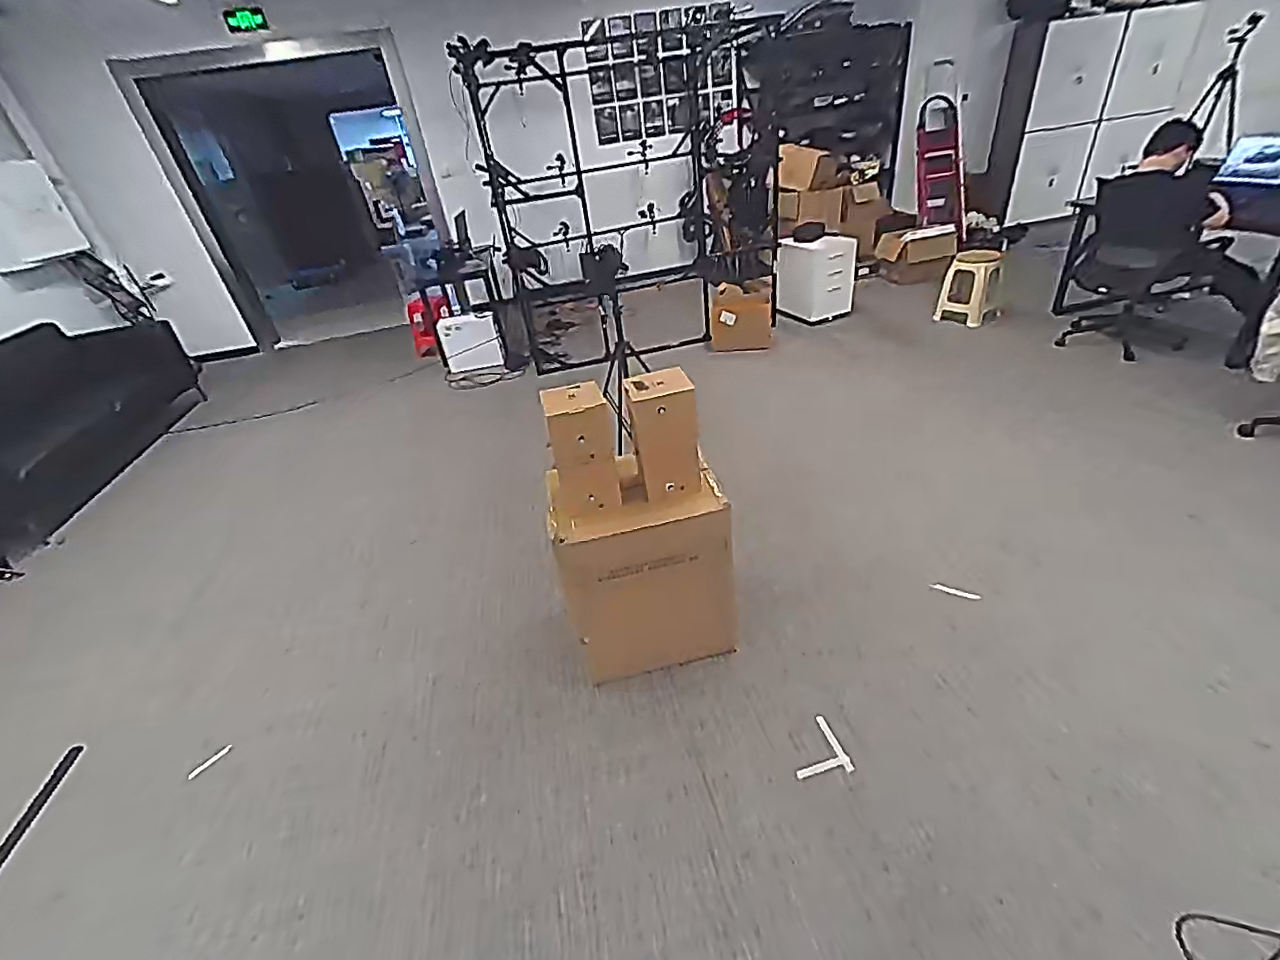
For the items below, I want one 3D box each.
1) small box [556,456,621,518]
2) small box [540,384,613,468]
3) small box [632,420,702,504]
[{"bbox_3d":[-0.159,-0.010,1.617,0.168,0.176,0.179,-13,34,-7],"label":"small box"},{"bbox_3d":[-0.179,-0.148,1.530,0.168,0.176,0.179,-14,34,-8],"label":"small box"},{"bbox_3d":[0.080,-0.055,1.632,0.168,0.176,0.179,-15,35,-4],"label":"small box"}]
